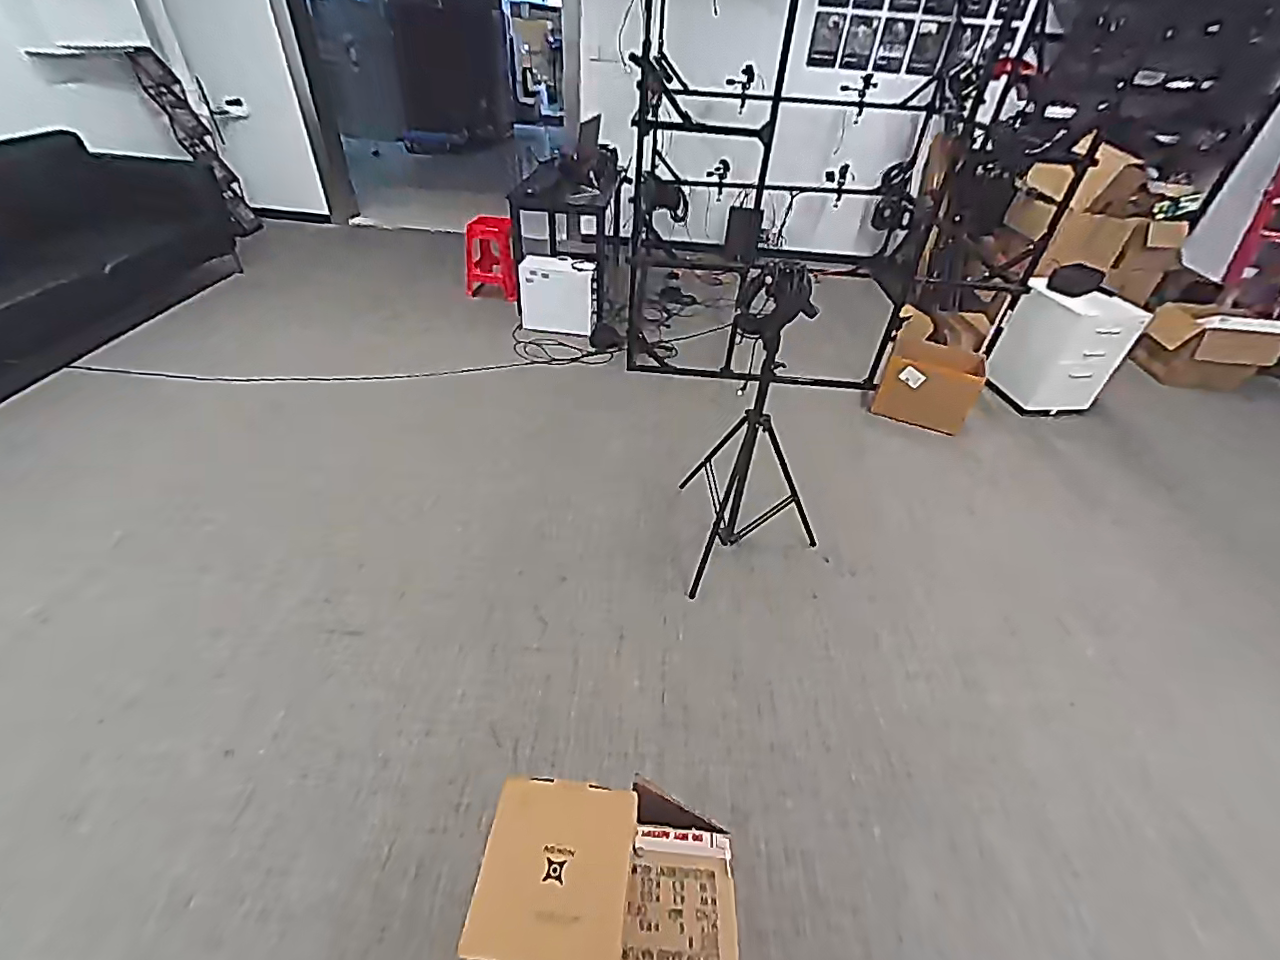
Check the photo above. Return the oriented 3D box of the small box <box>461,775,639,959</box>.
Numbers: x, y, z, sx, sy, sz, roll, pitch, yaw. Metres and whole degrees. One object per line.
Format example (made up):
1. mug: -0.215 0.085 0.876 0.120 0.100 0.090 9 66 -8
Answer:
1. small box: -0.093 0.487 0.649 0.168 0.176 0.179 4 42 4
